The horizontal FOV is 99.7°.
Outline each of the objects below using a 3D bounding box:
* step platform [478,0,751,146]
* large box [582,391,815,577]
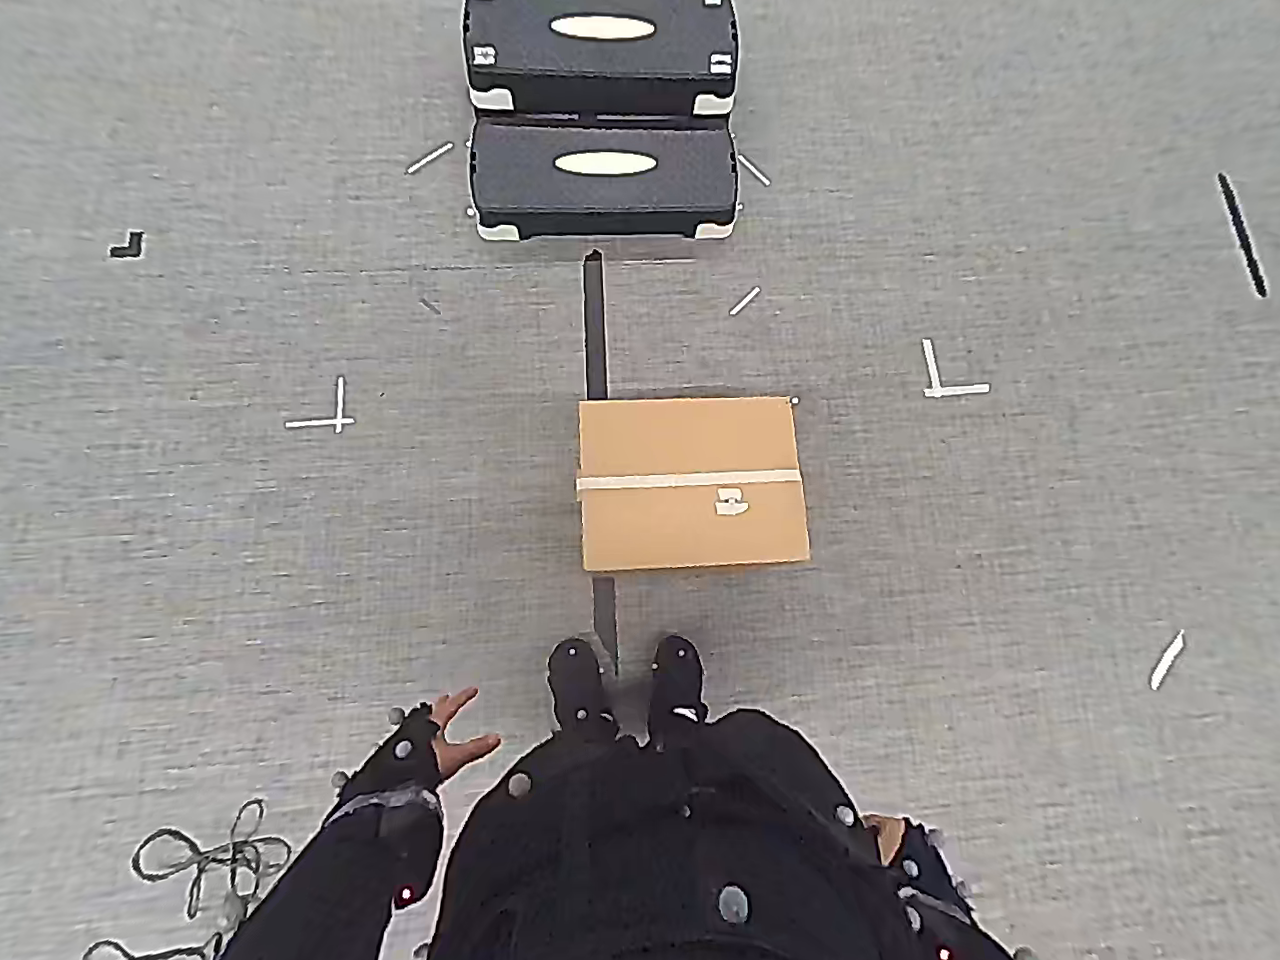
[{"bbox_3d":[-0.063,-1.079,1.393,0.684,0.204,0.286,4,78,-4],"label":"step platform"},{"bbox_3d":[0.091,0.023,1.111,0.408,0.320,0.320,-2,78,-5],"label":"large box"}]
